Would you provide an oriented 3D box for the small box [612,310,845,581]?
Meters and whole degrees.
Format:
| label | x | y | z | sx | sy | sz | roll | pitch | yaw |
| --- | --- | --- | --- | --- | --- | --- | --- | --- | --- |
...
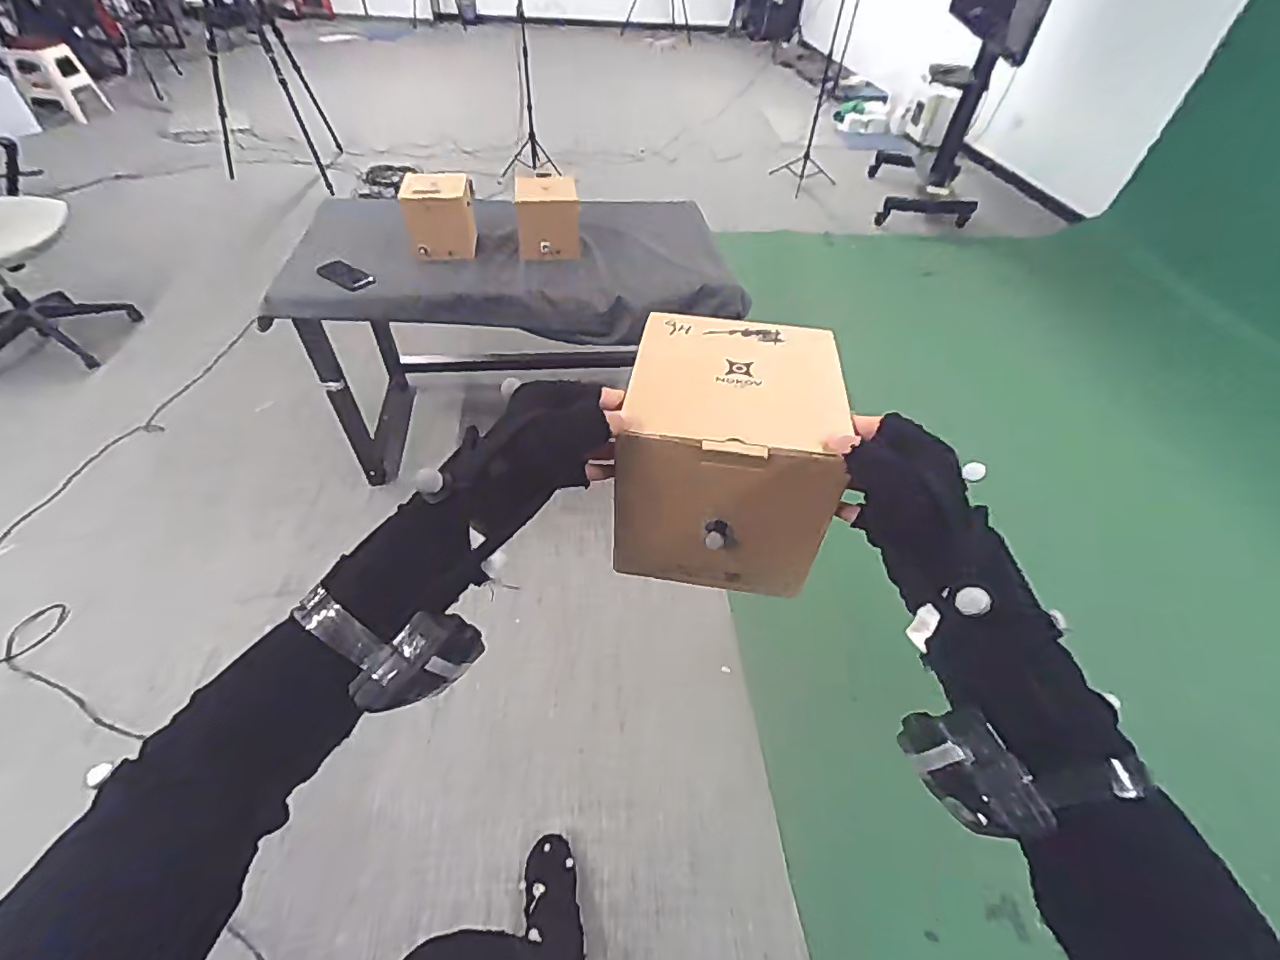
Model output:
| label | x | y | z | sx | sy | sz | roll | pitch | yaw |
| --- | --- | --- | --- | --- | --- | --- | --- | --- | --- |
| small box | 0.072 | -0.030 | 0.490 | 0.168 | 0.176 | 0.179 | 7 | 46 | 5 |

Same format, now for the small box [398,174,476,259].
| label | x | y | z | sx | sy | sz | roll | pitch | yaw |
| --- | --- | --- | --- | --- | --- | --- | --- | --- | --- |
| small box | -0.555 | -0.731 | 1.504 | 0.168 | 0.176 | 0.179 | -5 | 47 | -8 |

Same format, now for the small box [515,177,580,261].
| label | x | y | z | sx | sy | sz | roll | pitch | yaw |
| --- | --- | --- | --- | --- | --- | --- | --- | --- | --- |
| small box | -0.262 | -0.742 | 1.539 | 0.168 | 0.176 | 0.179 | -6 | 49 | -8 |
